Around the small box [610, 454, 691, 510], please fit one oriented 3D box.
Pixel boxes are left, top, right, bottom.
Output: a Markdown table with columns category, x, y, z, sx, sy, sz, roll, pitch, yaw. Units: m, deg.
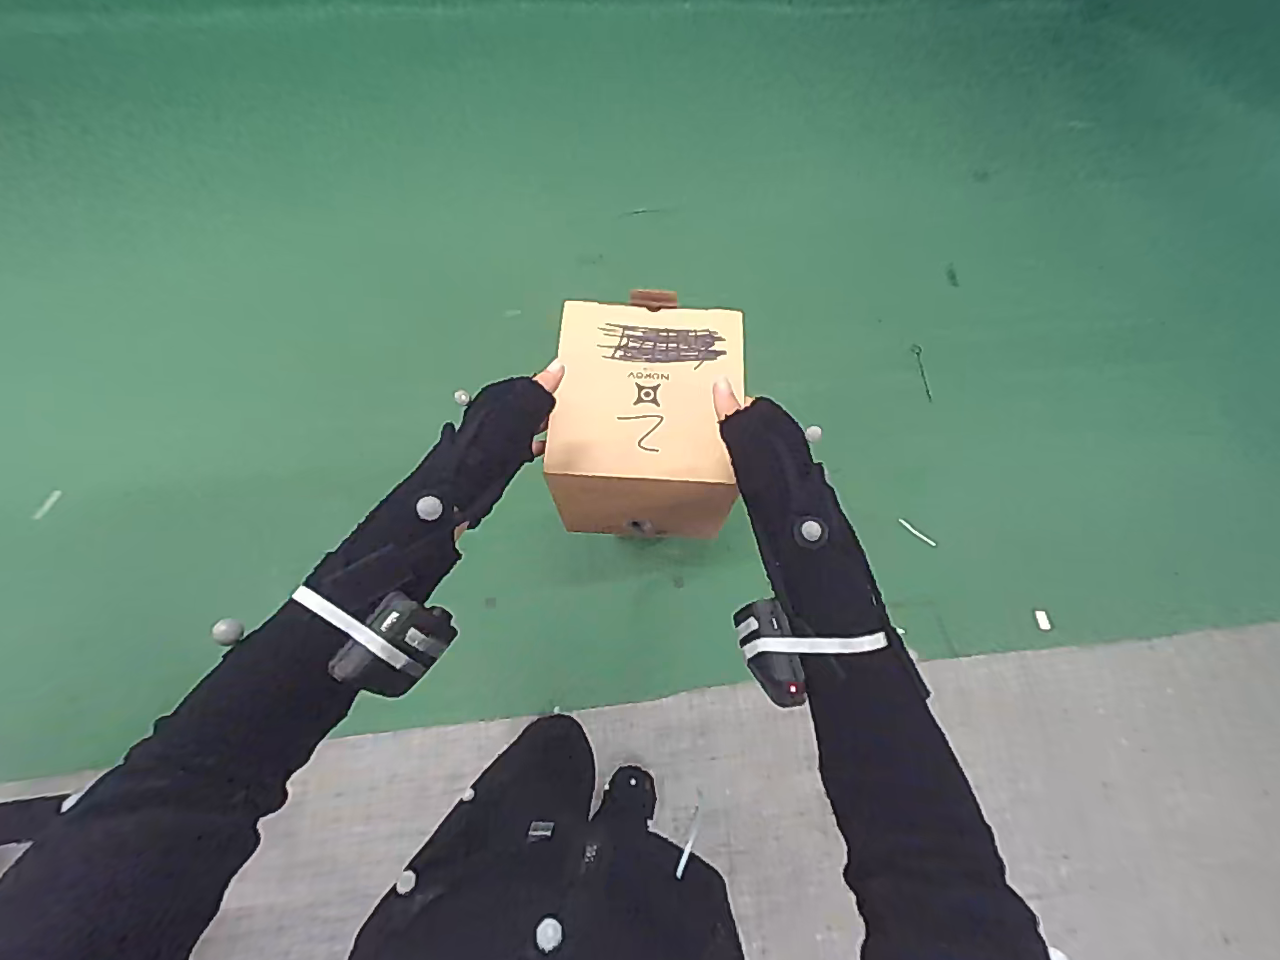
| category | x | y | z | sx | sy | sz | roll | pitch | yaw |
| --- | --- | --- | --- | --- | --- | --- | --- | --- | --- |
| small box | 0.018 | -0.037 | 1.306 | 0.179 | 0.176 | 0.168 | -3 | 63 | -4 |

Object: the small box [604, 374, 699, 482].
| category | x | y | z | sx | sy | sz | roll | pitch | yaw |
| --- | --- | --- | --- | --- | --- | --- | --- | --- | --- |
| small box | 0.019 | -0.106 | 1.162 | 0.179 | 0.176 | 0.168 | -6 | 65 | -5 |

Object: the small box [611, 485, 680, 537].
| category | x | y | z | sx | sy | sz | roll | pitch | yaw |
| --- | --- | --- | --- | --- | --- | --- | --- | --- | --- |
| small box | 0.008 | 0.038 | 1.455 | 0.168 | 0.176 | 0.179 | -5 | 65 | -4 |
